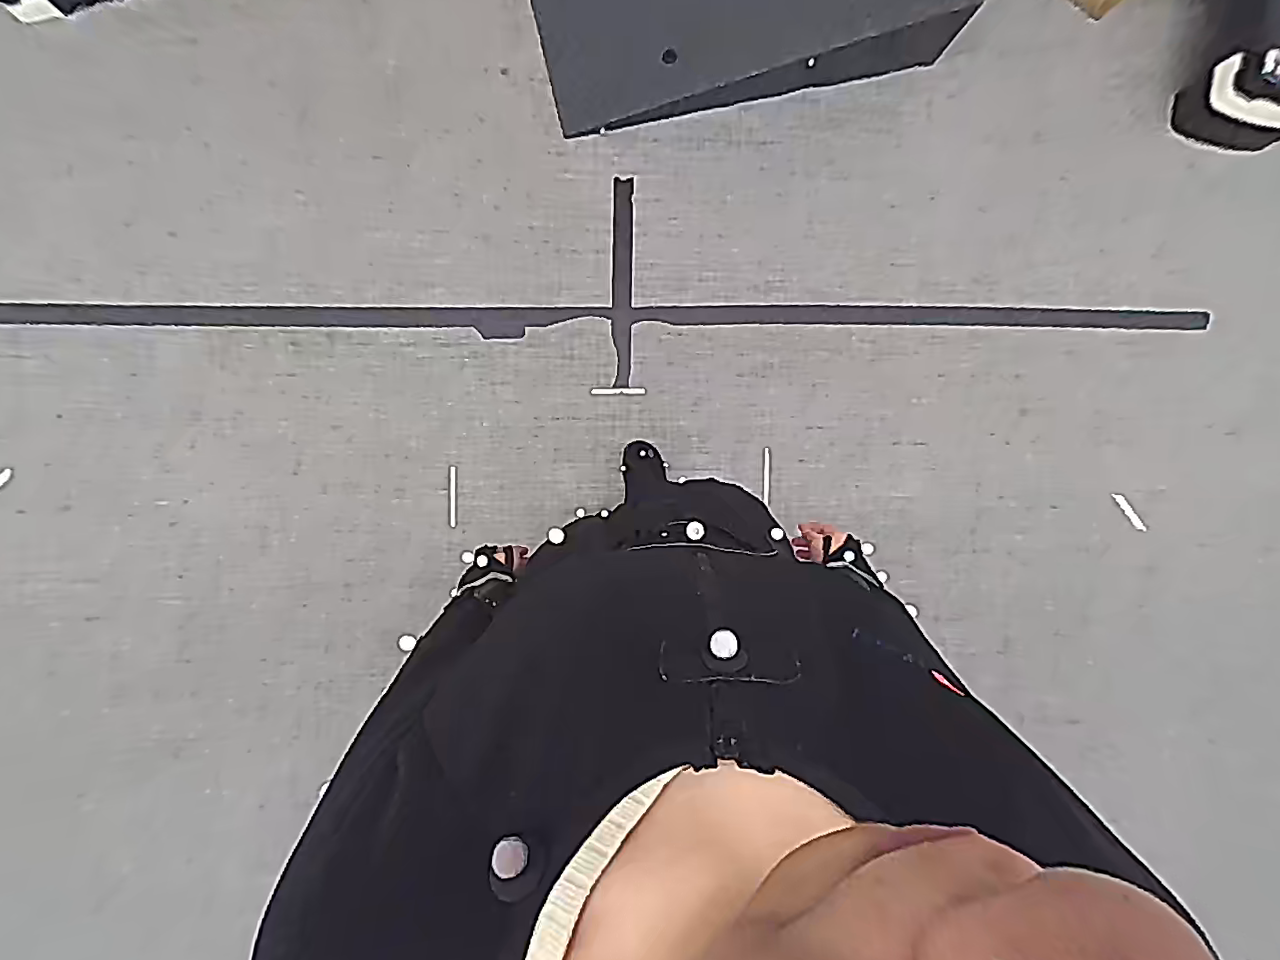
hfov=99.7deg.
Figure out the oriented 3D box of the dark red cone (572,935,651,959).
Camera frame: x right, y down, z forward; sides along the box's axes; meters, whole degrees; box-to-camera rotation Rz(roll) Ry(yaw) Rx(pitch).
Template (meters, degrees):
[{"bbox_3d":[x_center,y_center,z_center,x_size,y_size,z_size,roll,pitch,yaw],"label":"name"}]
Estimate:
[{"bbox_3d":[-0.064,1.264,1.220,0.201,0.394,0.202,0,92,-3],"label":"dark red cone"}]
